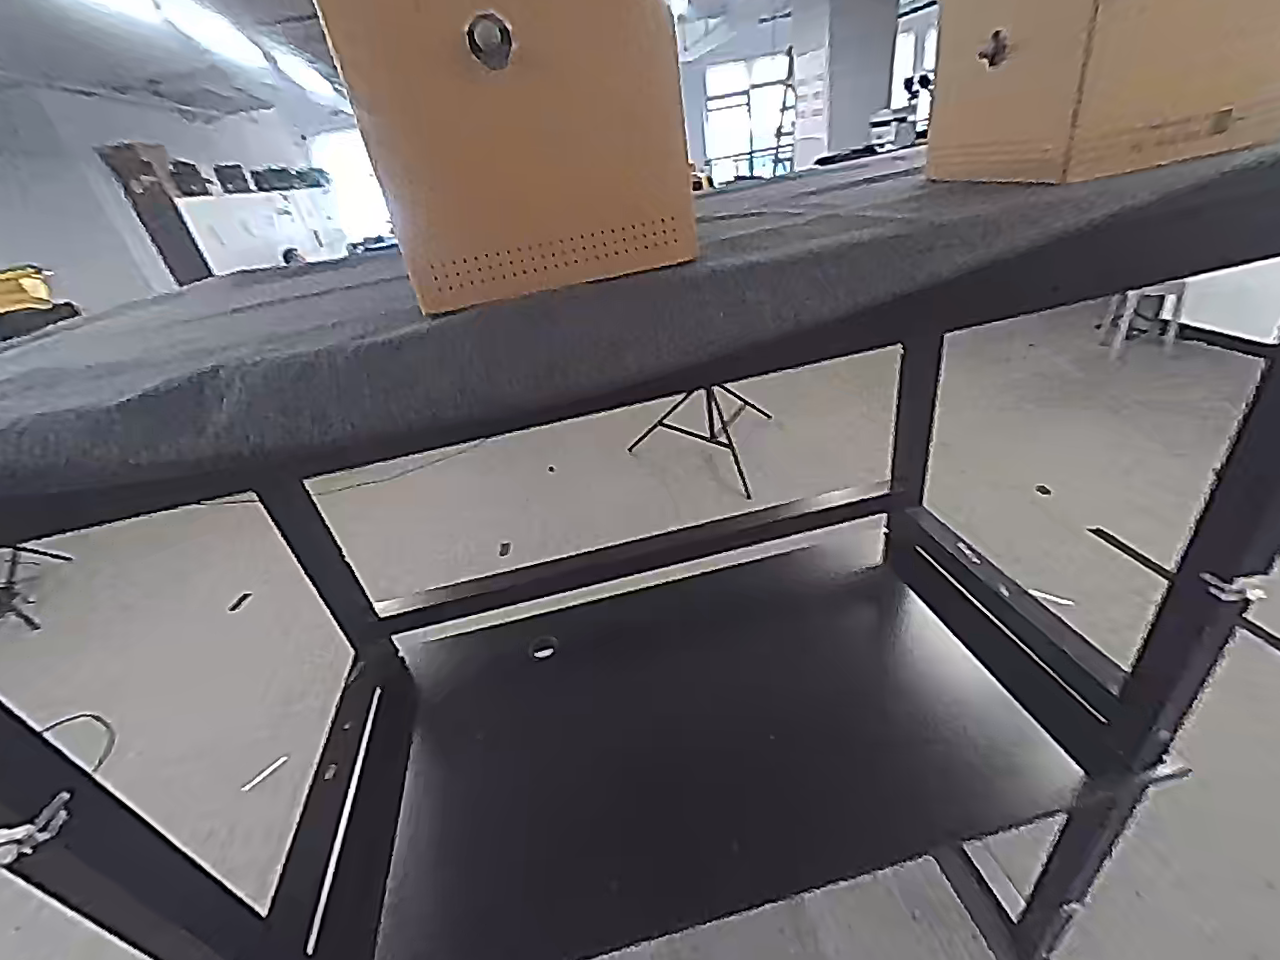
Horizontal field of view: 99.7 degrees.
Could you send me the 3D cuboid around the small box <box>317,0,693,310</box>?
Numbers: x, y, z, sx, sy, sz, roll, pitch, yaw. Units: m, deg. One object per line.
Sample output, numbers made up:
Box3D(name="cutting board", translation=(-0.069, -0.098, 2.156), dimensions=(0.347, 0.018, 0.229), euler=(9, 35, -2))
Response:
Box3D(name="small box", translation=(-0.076, -0.223, 0.367), dimensions=(0.179, 0.176, 0.168), euler=(-14, 29, -7))
